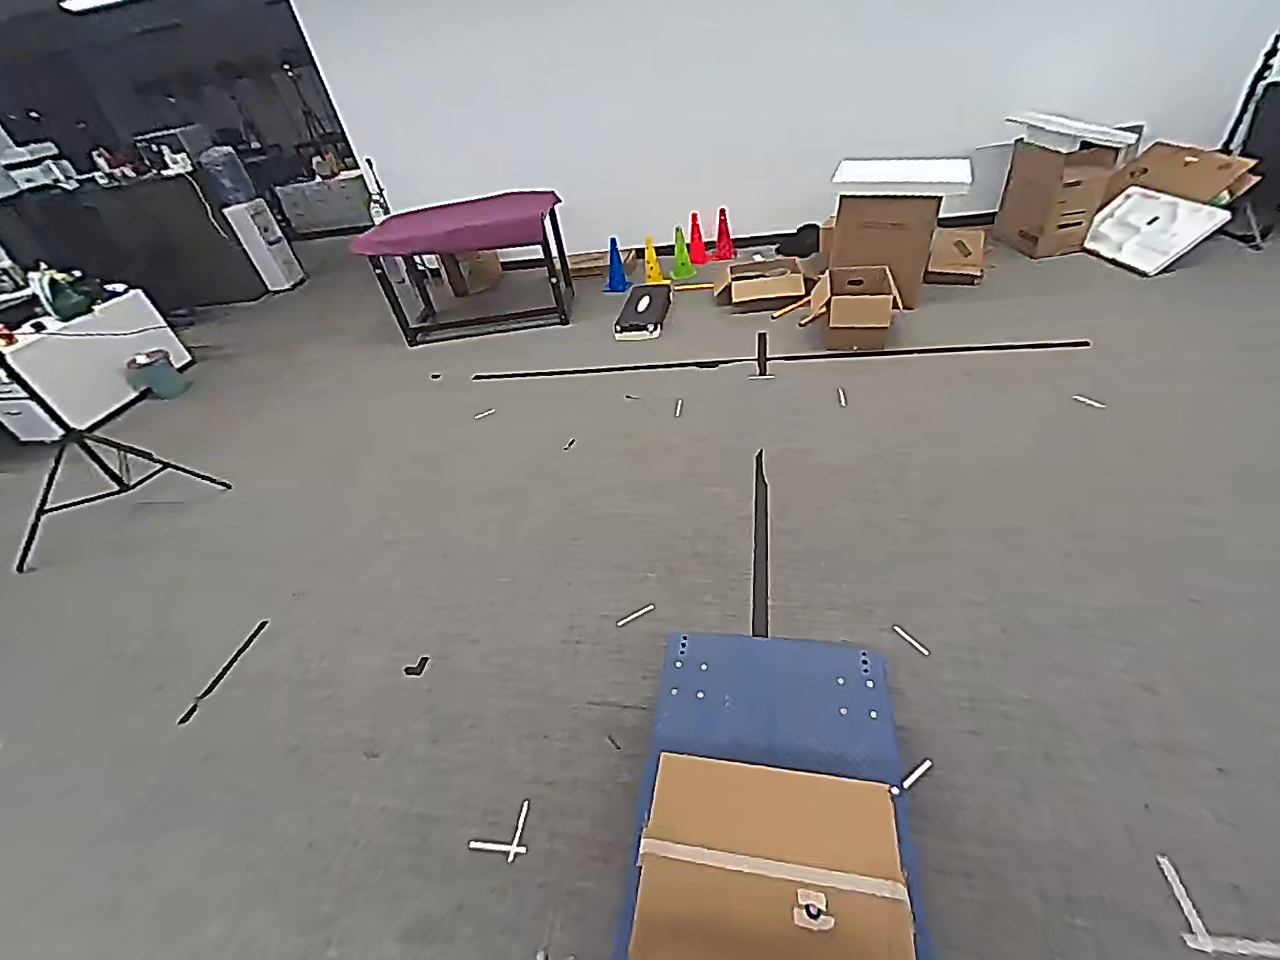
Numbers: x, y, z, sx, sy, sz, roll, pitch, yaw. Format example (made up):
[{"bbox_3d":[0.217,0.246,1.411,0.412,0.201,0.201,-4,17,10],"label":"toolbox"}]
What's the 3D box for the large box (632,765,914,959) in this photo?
[{"bbox_3d":[0.220,0.741,0.939,0.408,0.320,0.320,1,41,13],"label":"large box"}]
